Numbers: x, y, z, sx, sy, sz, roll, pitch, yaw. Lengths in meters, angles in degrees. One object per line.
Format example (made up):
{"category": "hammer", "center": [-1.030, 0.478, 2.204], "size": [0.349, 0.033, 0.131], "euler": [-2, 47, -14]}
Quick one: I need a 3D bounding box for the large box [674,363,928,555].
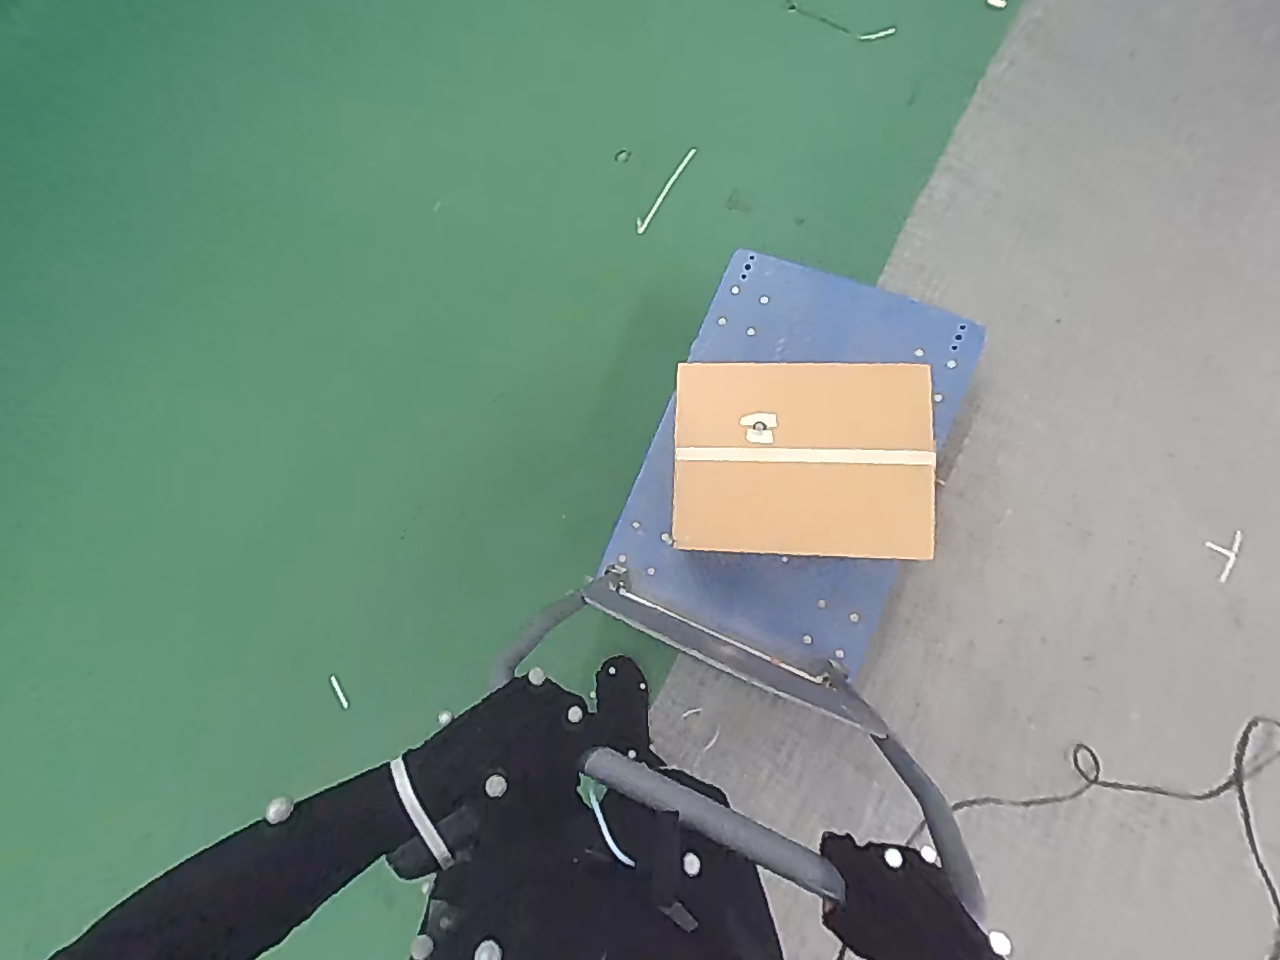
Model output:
{"category": "large box", "center": [0.279, -0.022, 1.030], "size": [0.408, 0.320, 0.320], "euler": [1, 83, 8]}
